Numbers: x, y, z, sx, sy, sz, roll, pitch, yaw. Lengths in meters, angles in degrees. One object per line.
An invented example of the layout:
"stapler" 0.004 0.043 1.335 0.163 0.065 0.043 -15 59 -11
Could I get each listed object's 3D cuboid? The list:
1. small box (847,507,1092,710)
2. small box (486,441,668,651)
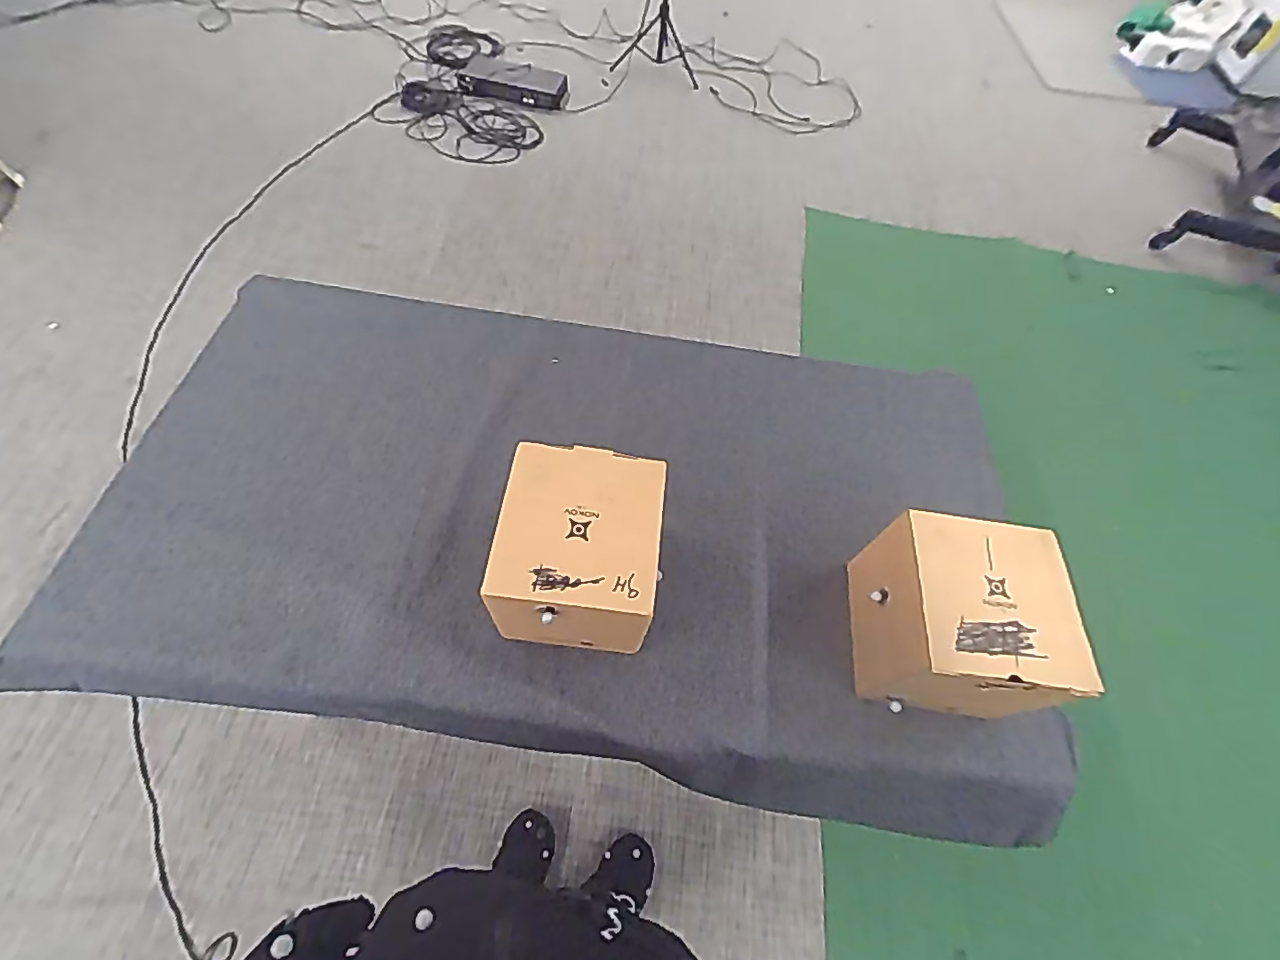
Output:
"small box" 0.355 0.156 0.624 0.168 0.176 0.179 9 58 0
"small box" -0.066 0.082 0.626 0.168 0.176 0.179 8 59 -1
